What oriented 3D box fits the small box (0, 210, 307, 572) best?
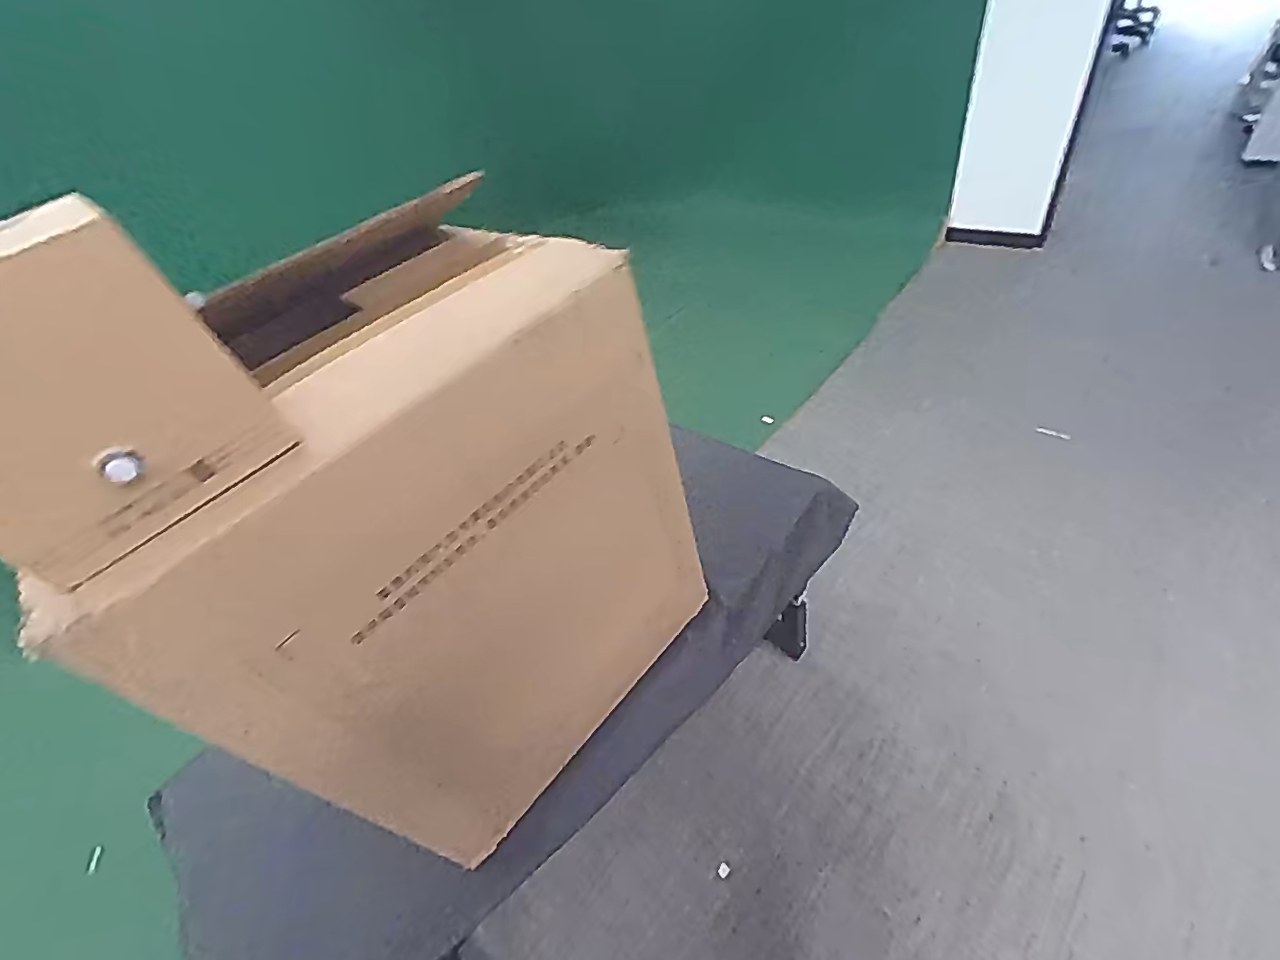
[{"bbox_3d":[-0.381,-0.066,0.377,0.179,0.176,0.168,27,59,36],"label":"small box"}]
